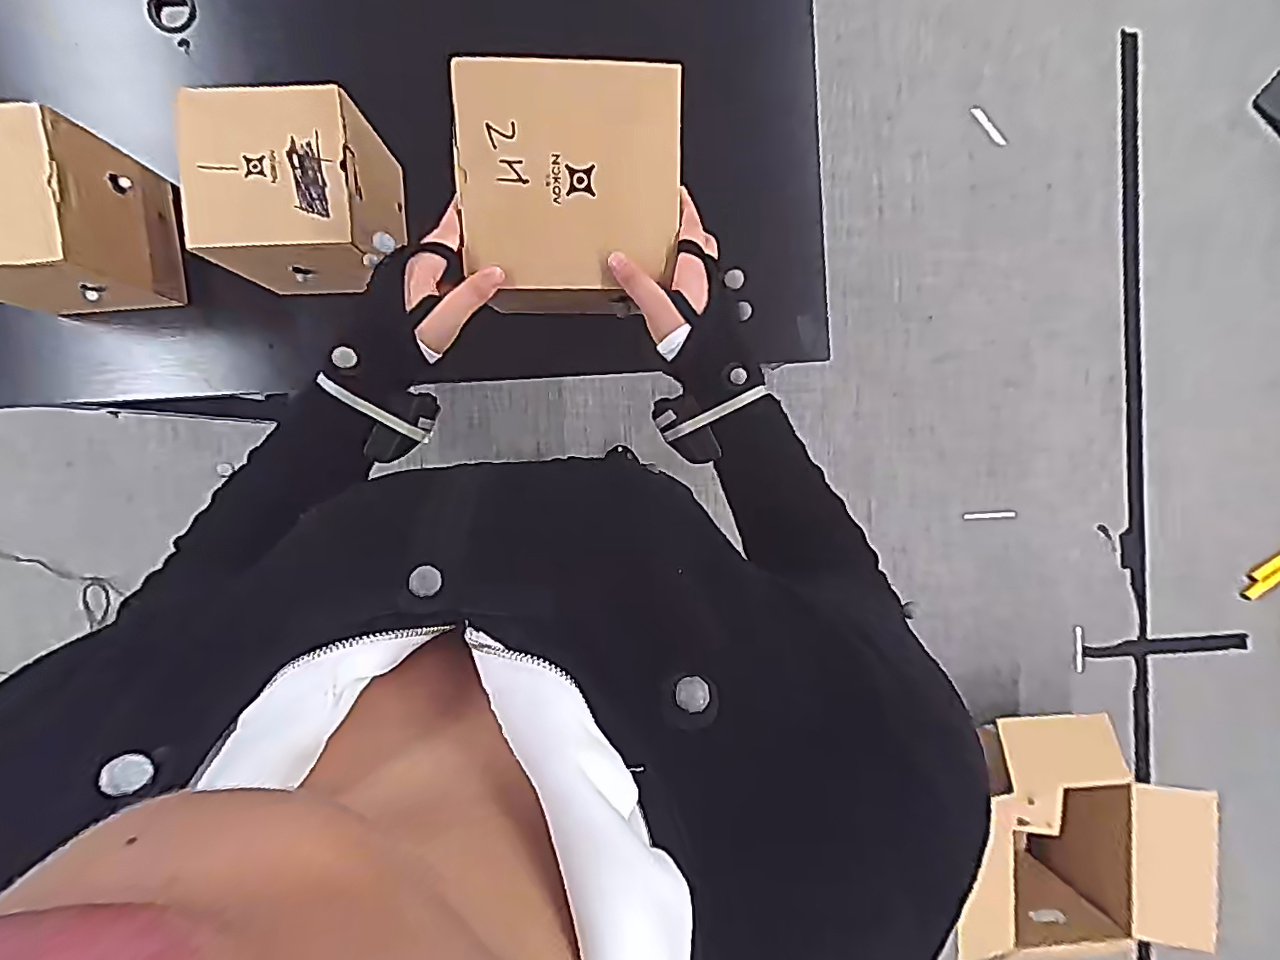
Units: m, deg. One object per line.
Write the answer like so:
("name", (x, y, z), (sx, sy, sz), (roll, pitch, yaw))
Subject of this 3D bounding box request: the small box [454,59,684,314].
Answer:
("small box", (-0.059, -0.250, 0.502), (0.179, 0.176, 0.168), (0, 101, -3))

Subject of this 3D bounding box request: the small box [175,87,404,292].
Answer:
("small box", (-0.400, -0.335, 0.652), (0.179, 0.176, 0.168), (-3, 93, -2))

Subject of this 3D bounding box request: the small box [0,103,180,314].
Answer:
("small box", (-0.693, -0.305, 0.639), (0.179, 0.176, 0.168), (-6, 92, -2))
